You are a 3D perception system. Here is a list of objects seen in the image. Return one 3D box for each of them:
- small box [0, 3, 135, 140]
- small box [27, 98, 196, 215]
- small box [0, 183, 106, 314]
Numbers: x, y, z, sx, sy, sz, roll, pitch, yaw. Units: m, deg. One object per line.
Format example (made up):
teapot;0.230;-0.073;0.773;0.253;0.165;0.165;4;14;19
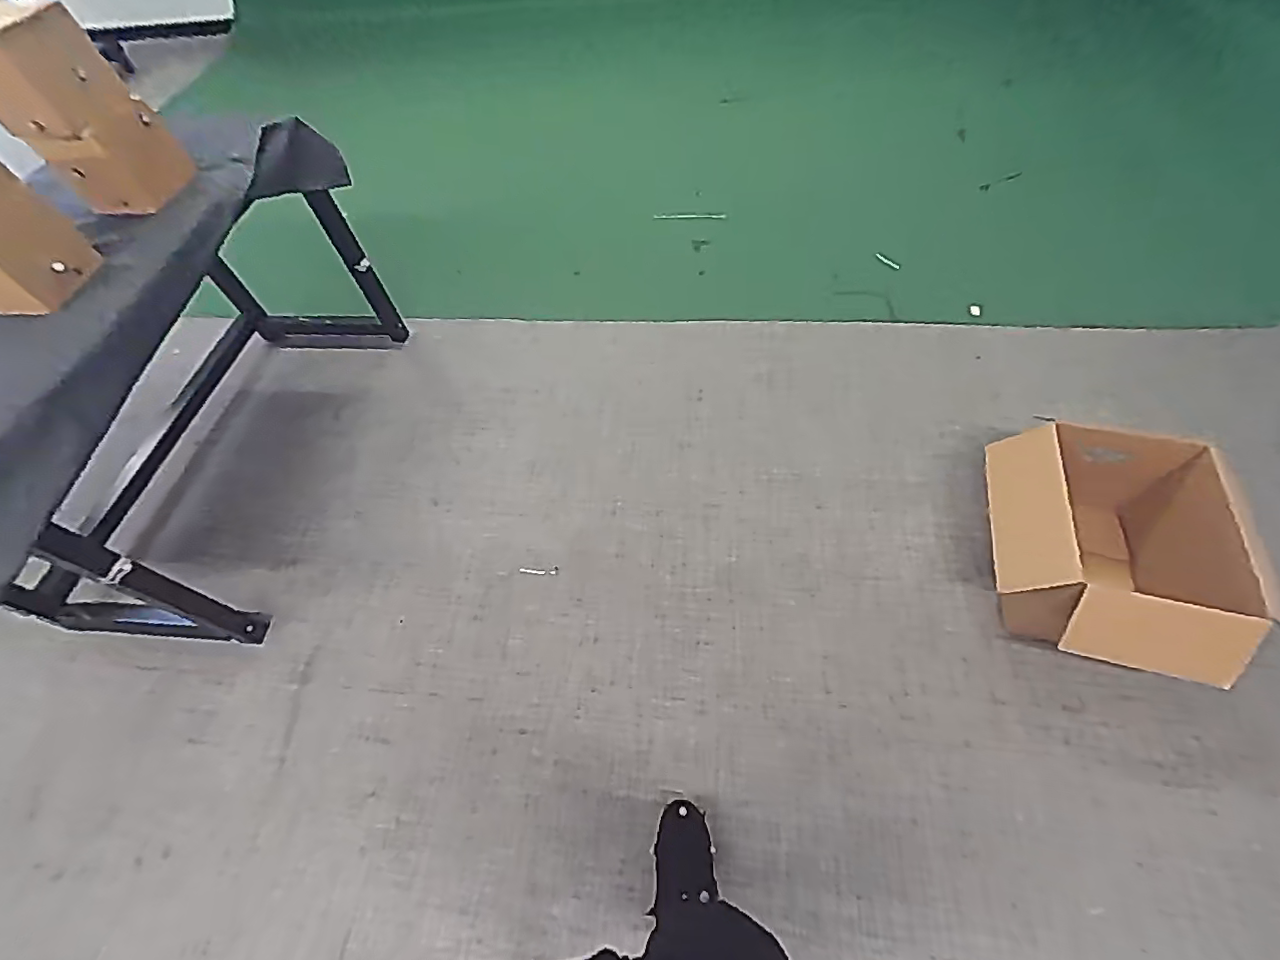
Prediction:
small box;-1.182;-0.801;1.060;0.168;0.176;0.179;7;58;10
small box;-1.154;-0.712;1.200;0.168;0.176;0.179;3;57;8
small box;-1.198;-0.431;1.019;0.179;0.176;0.168;3;58;6
